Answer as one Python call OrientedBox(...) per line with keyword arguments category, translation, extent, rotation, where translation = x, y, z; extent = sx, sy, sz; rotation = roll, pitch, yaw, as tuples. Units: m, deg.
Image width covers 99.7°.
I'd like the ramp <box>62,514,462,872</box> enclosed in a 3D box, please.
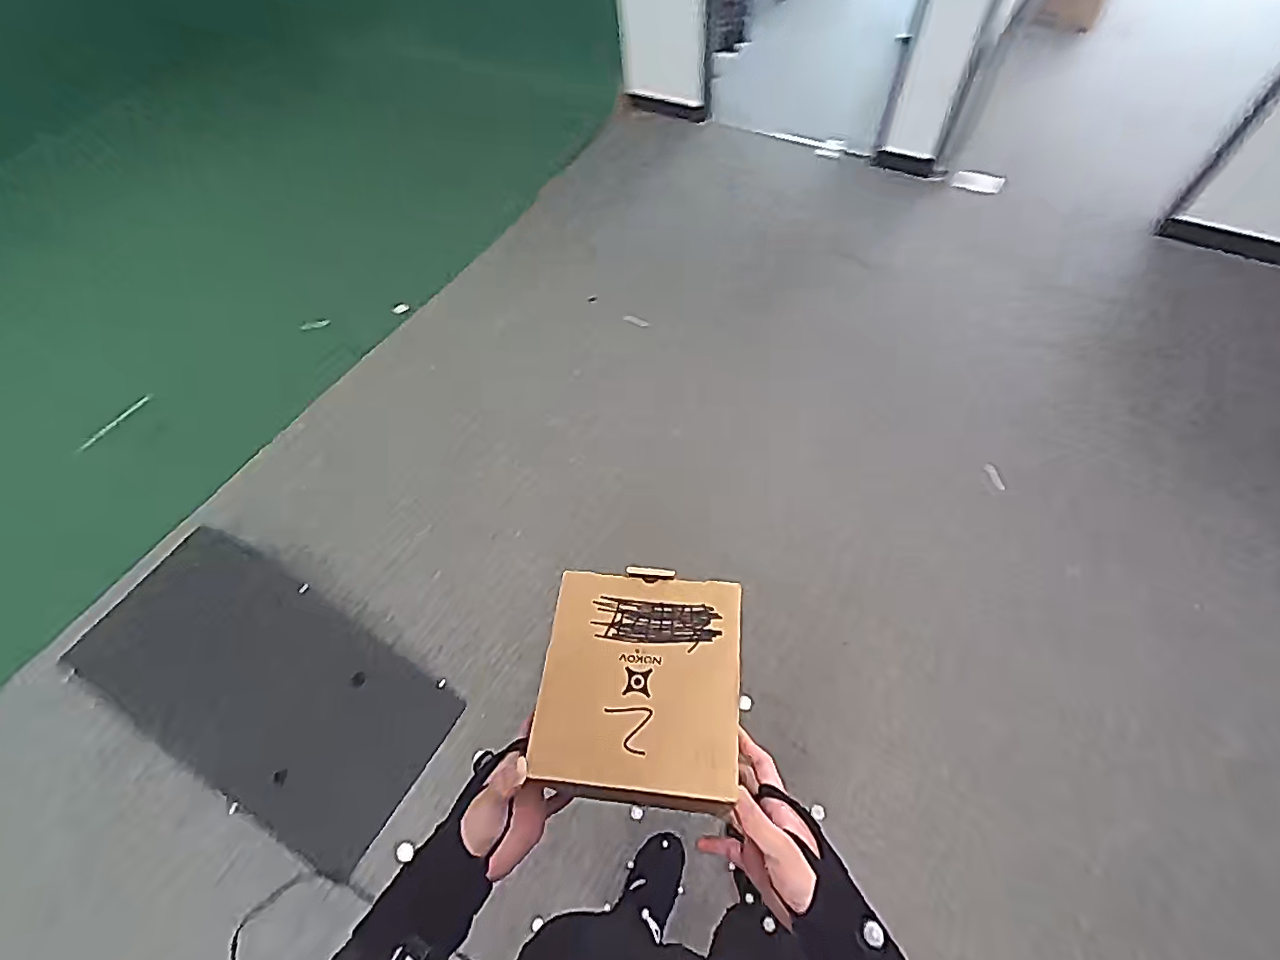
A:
OrientedBox(category="ramp", translation=(-1.035, 0.536, 1.500), extent=(0.991, 0.206, 0.509), rotation=(25, 64, 17))
